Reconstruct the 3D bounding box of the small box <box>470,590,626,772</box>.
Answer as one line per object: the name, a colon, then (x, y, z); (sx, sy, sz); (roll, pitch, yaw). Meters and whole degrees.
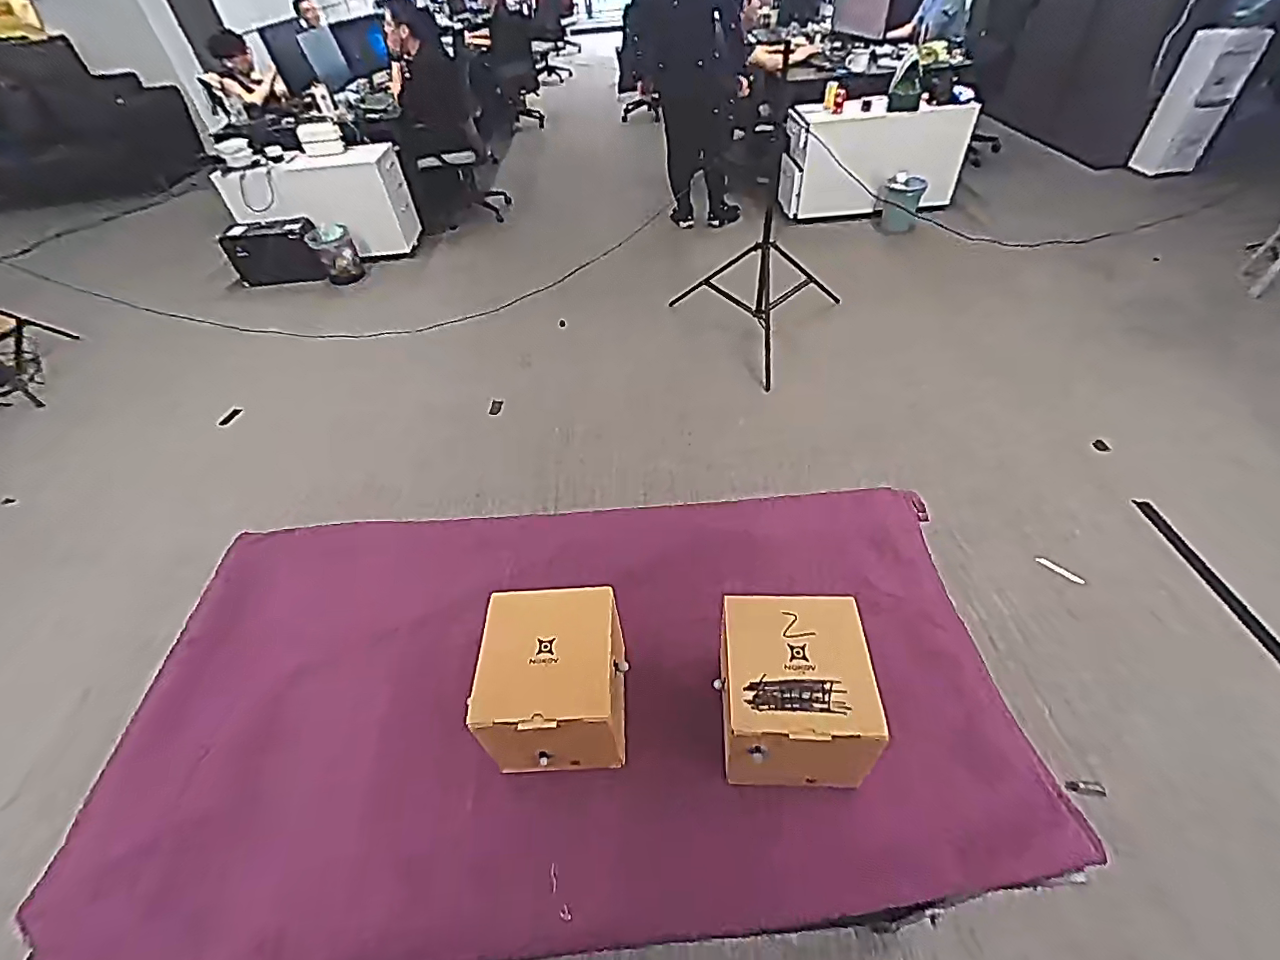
small box: (-0.108, 0.267, 0.721); (0.168, 0.176, 0.179); (-4, 46, 2)
